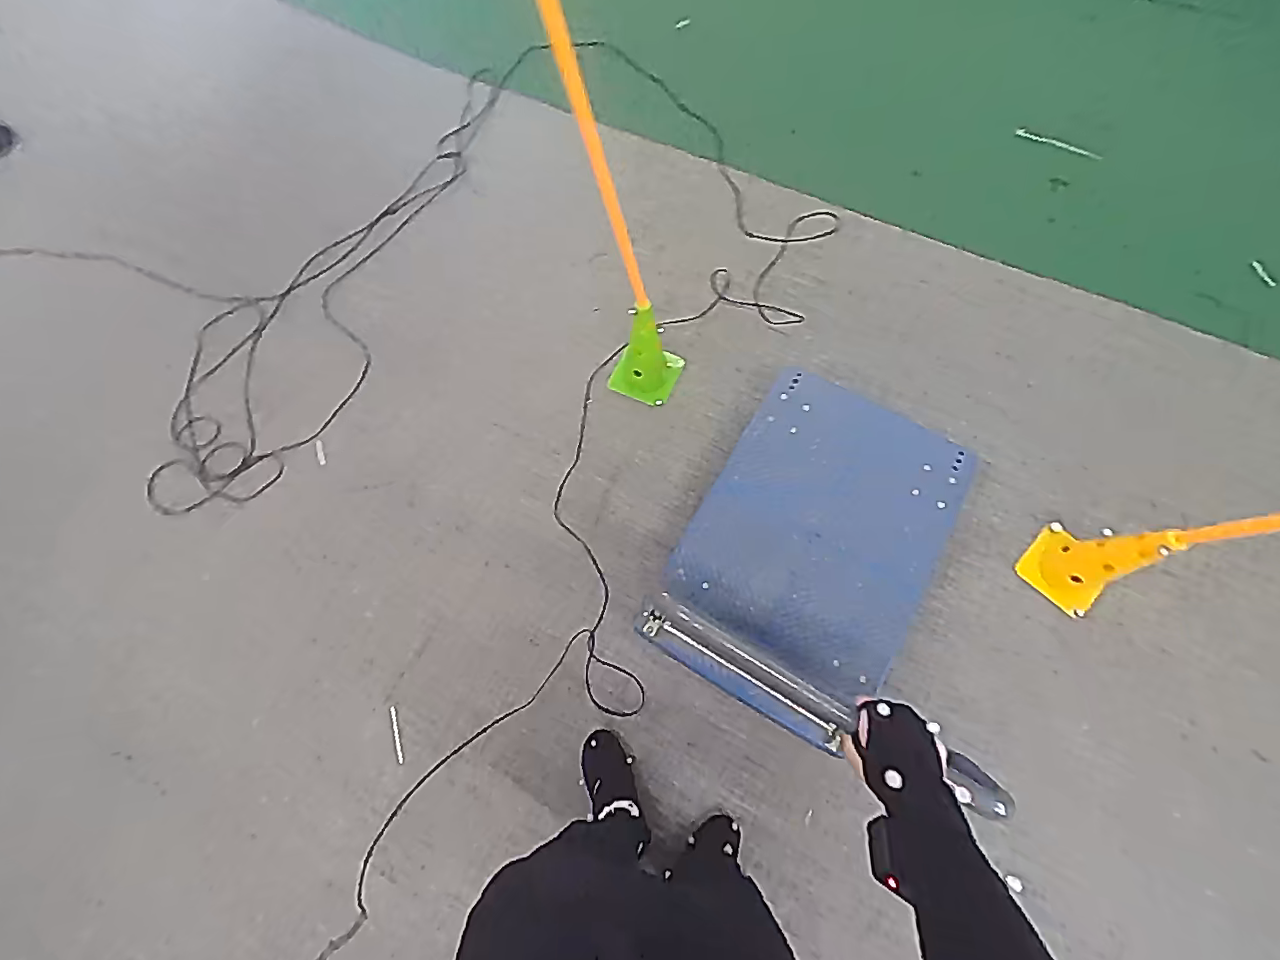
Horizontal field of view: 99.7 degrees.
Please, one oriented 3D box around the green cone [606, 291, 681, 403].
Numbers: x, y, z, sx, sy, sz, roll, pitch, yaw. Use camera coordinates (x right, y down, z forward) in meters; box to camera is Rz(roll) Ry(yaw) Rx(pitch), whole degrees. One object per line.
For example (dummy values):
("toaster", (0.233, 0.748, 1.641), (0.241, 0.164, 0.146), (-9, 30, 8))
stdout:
("green cone", (0.003, -0.417, 1.583), (0.202, 0.368, 0.200), (21, 72, 11))
